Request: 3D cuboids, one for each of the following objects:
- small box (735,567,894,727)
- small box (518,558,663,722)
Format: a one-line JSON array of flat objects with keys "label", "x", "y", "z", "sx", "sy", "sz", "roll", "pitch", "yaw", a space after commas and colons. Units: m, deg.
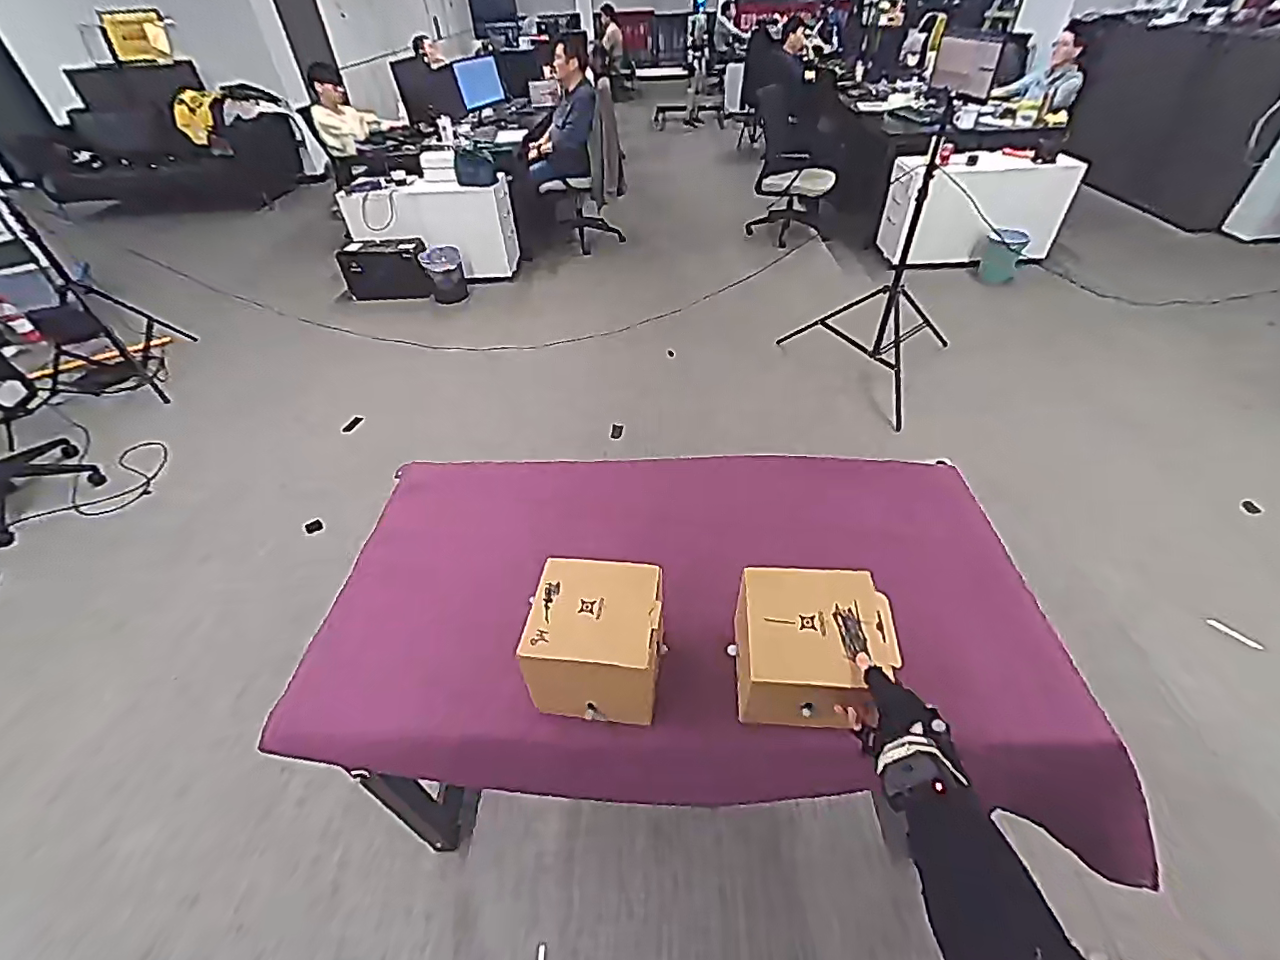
[{"label": "small box", "x": 0.232, "y": 0.240, "z": 0.769, "sx": 0.179, "sy": 0.176, "sz": 0.168, "roll": 1, "pitch": 50, "yaw": 6}, {"label": "small box", "x": -0.061, "y": 0.239, "z": 0.804, "sx": 0.179, "sy": 0.176, "sz": 0.168, "roll": 4, "pitch": 42, "yaw": 7}]
